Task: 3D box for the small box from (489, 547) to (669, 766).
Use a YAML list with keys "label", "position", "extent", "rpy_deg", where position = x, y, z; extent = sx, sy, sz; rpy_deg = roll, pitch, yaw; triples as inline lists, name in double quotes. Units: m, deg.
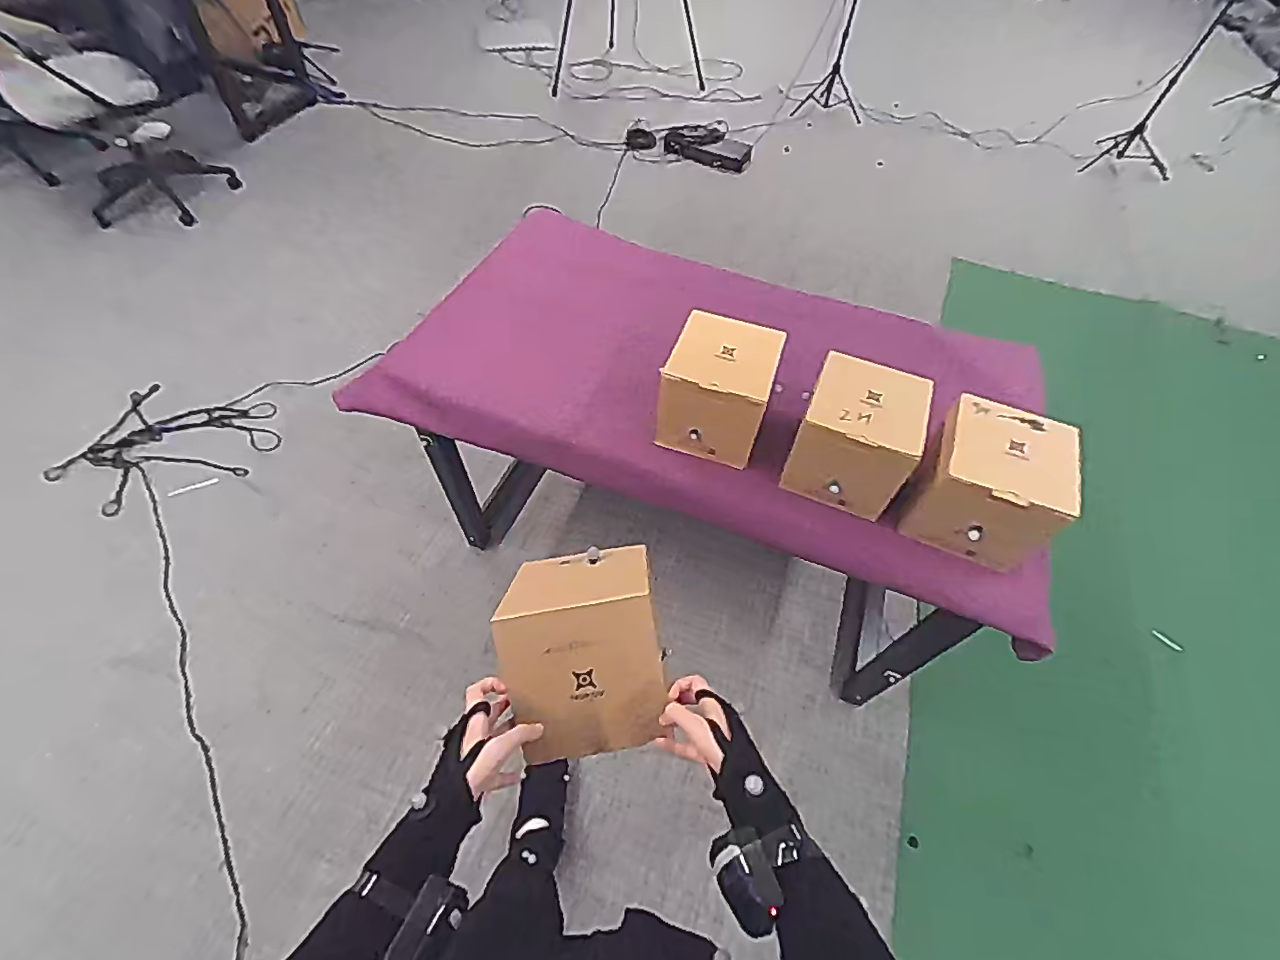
- label: "small box"
  position: [-0.060, 0.197, 0.641]
  extent: [0.168, 0.179, 0.176]
  rpy_deg: [-10, 11, 2]
